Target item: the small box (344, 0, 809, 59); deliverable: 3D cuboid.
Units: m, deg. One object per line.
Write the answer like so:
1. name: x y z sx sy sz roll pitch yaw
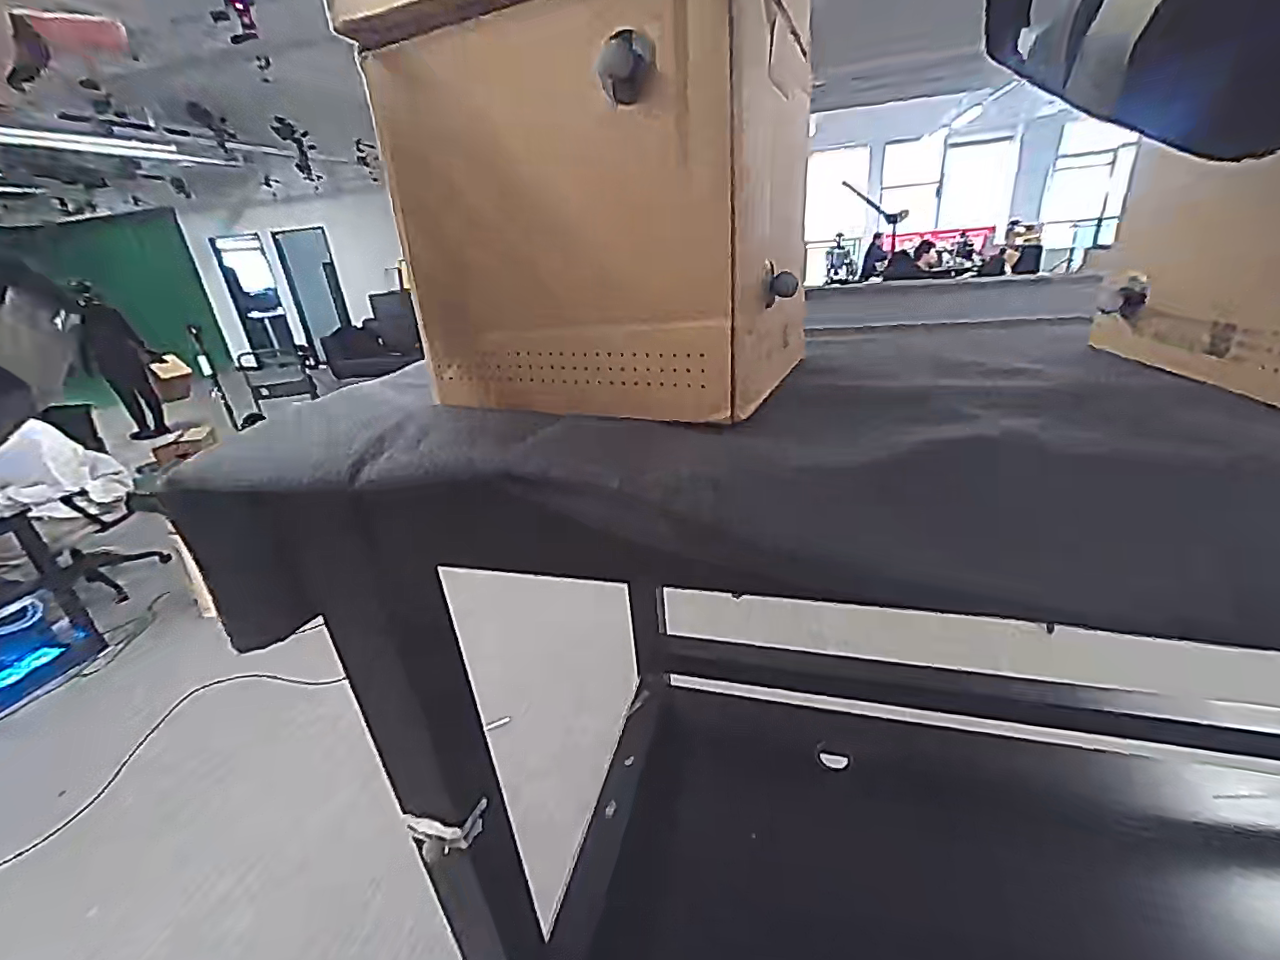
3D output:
1. small box: -0.025 -0.282 0.235 0.179 0.176 0.168 6 24 24

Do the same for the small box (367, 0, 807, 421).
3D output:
1. small box: -0.011 -0.135 0.306 0.179 0.176 0.168 6 24 24

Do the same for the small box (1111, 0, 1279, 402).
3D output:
1. small box: 0.331 -0.124 0.210 0.179 0.176 0.168 2 24 13
